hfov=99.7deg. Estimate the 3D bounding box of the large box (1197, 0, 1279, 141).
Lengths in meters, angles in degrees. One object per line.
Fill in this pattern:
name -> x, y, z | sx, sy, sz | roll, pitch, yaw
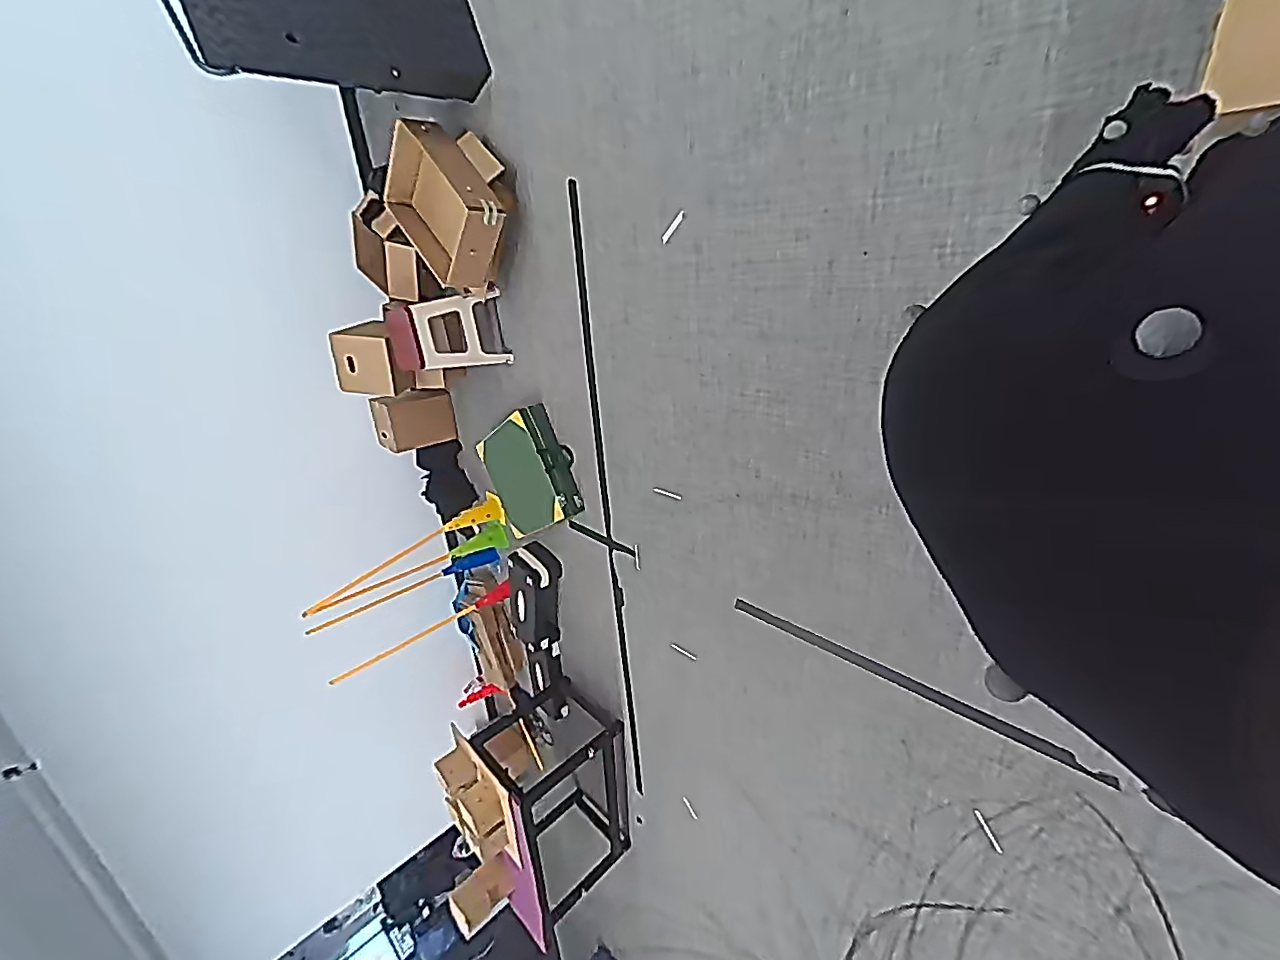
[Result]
large box -> 1.029, -0.656, 0.681 | 0.408, 0.320, 0.320 | 18, 122, 42
